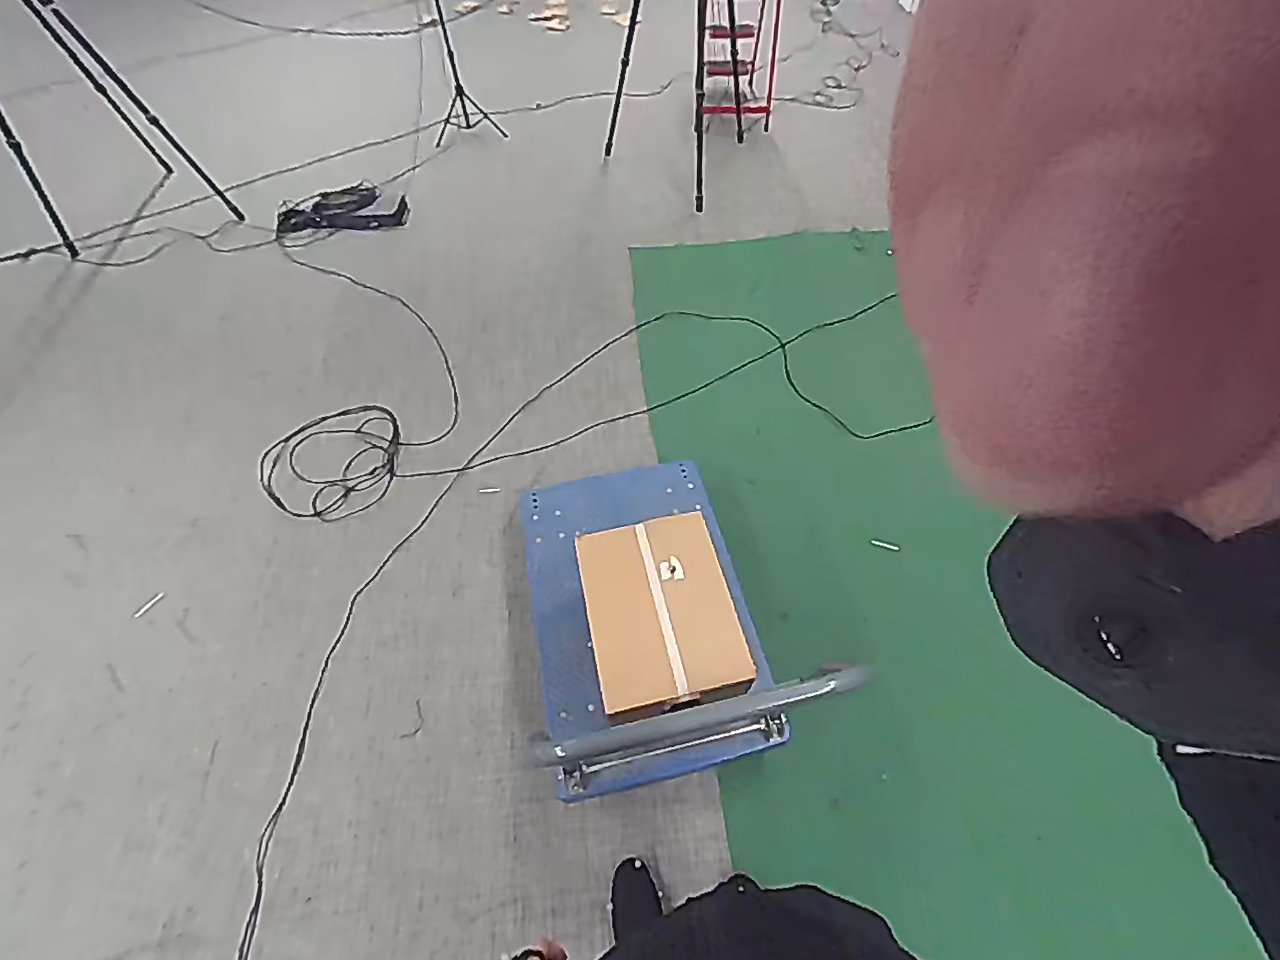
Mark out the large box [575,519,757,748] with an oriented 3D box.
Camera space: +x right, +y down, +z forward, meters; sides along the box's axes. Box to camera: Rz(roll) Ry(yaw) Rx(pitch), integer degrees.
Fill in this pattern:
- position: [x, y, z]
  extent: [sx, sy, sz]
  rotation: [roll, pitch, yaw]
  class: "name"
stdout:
- position: [0.047, 0.367, 1.295]
  extent: [0.320, 0.320, 0.408]
  rotation: [-11, 54, -7]
  class: "large box"
